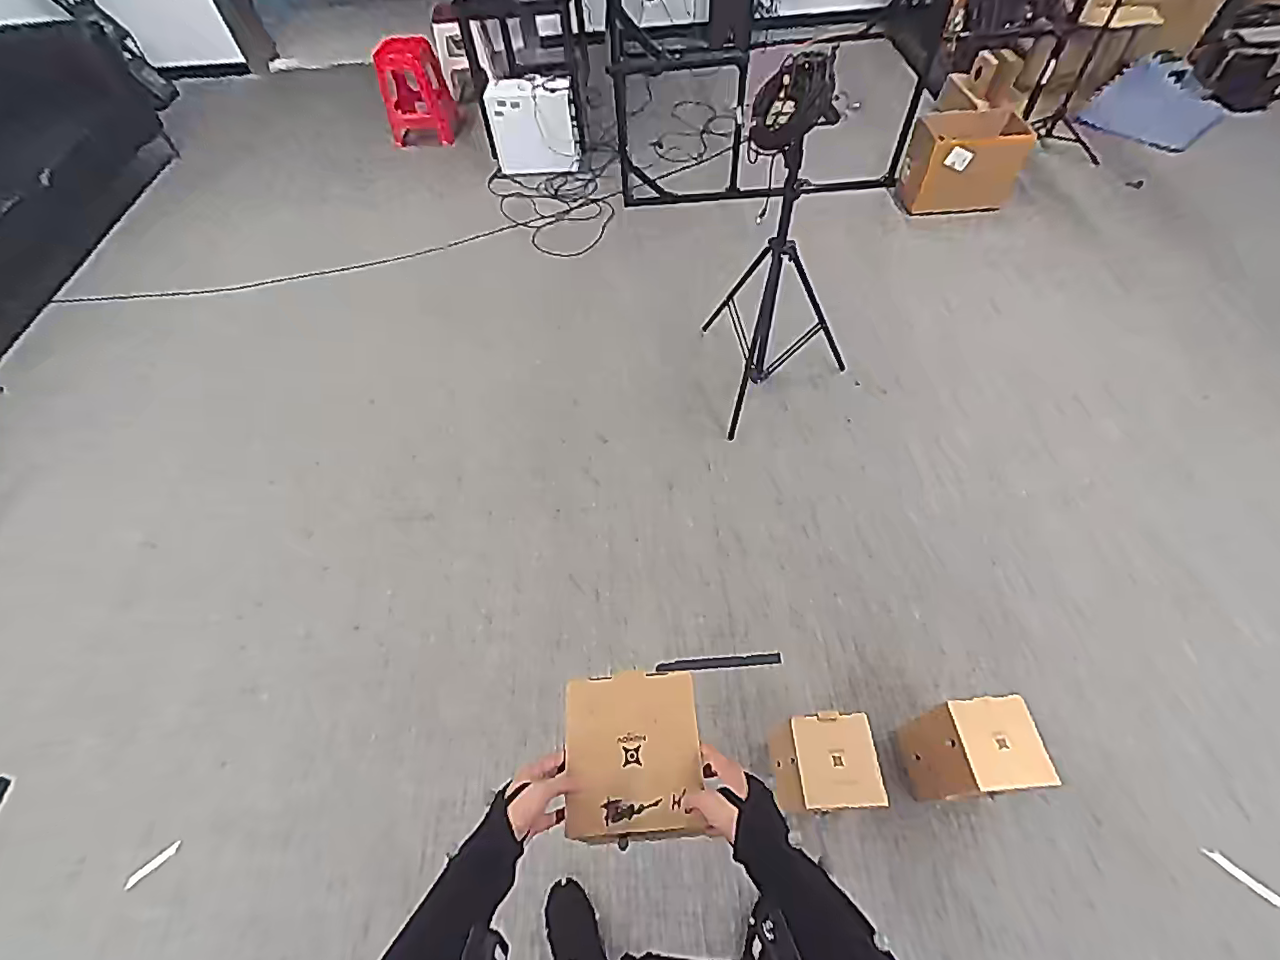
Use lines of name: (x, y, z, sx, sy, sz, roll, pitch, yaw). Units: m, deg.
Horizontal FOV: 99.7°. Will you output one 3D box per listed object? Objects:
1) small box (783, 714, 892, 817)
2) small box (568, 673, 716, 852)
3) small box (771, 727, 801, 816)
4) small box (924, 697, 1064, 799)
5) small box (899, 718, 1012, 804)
small box: (0.416, 0.622, 1.173, 0.168, 0.176, 0.179, -3, 55, 2)
small box: (0.002, 0.371, 0.706, 0.168, 0.176, 0.179, -5, 53, 1)
small box: (0.423, 0.709, 1.312, 0.168, 0.176, 0.179, -3, 56, 2)
small box: (0.757, 0.588, 1.179, 0.168, 0.176, 0.179, -5, 55, 0)
small box: (0.762, 0.680, 1.312, 0.168, 0.176, 0.179, -6, 55, -1)
